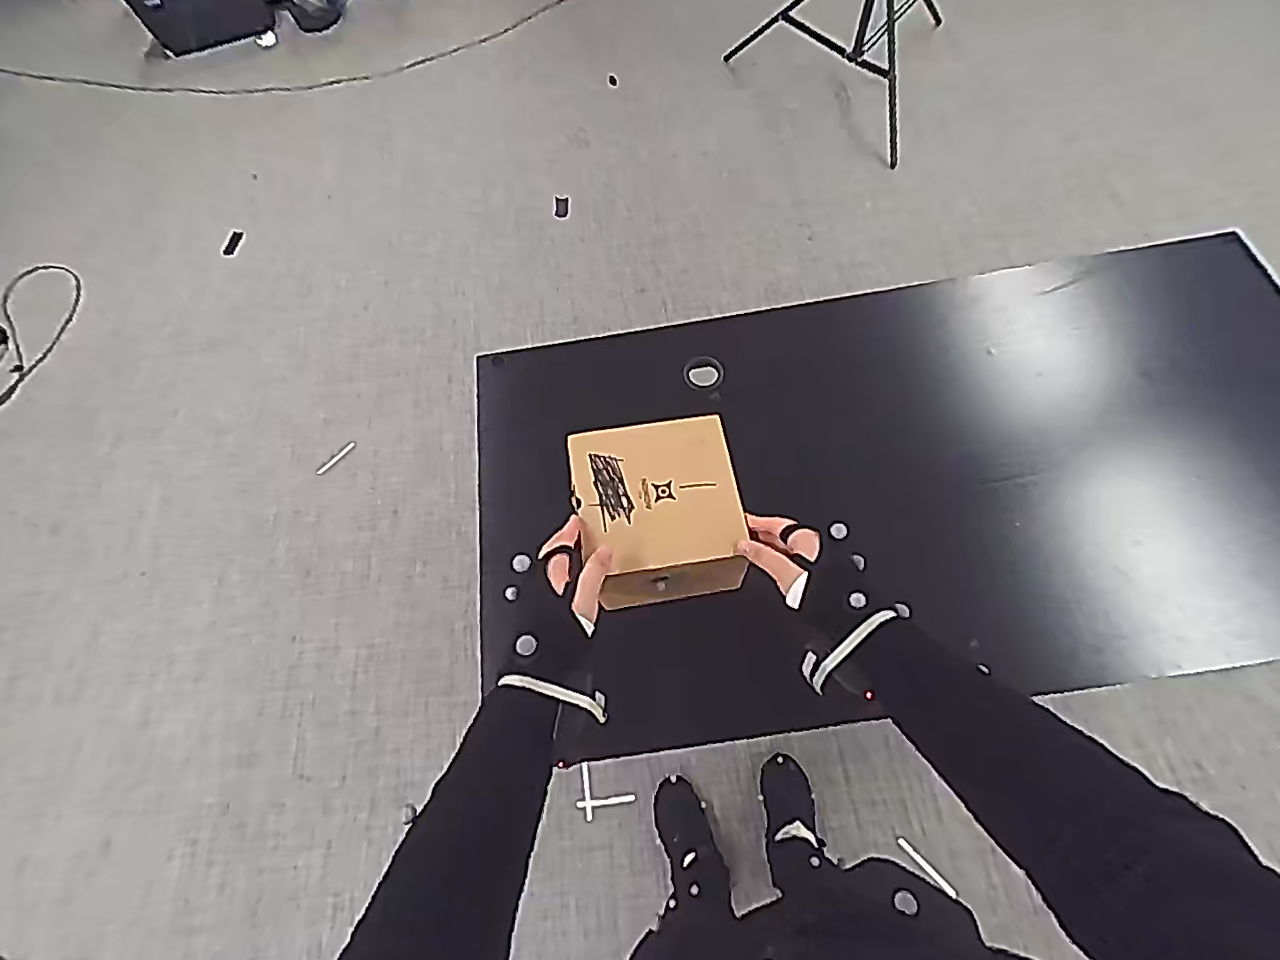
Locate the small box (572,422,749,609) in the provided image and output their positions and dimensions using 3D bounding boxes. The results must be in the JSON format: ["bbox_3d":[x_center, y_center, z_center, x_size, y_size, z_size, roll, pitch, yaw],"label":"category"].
[{"bbox_3d":[0.024,0.053,0.660,0.179,0.176,0.168,-10,66,0],"label":"small box"}]
